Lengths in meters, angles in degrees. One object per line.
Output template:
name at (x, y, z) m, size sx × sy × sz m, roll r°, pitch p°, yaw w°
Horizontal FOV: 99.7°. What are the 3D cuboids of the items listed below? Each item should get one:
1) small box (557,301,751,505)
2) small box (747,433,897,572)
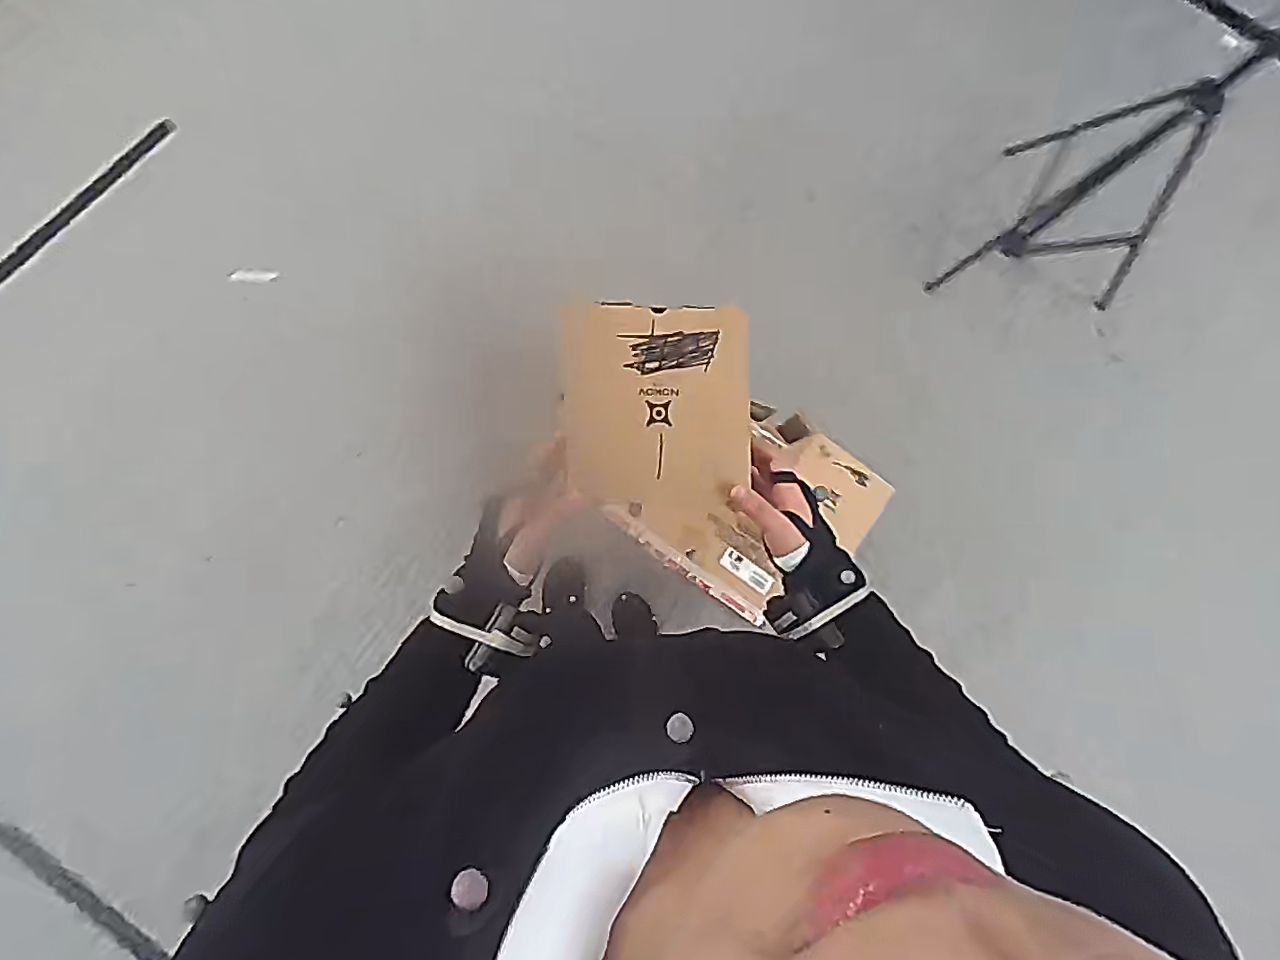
small box at (0.002, -0.064, 0.545) m, size 0.168 × 0.176 × 0.179 m, roll -2°, pitch 89°, yaw -9°
small box at (0.311, 0.045, 0.971) m, size 0.168 × 0.176 × 0.179 m, roll 37°, pitch 83°, yaw 0°
